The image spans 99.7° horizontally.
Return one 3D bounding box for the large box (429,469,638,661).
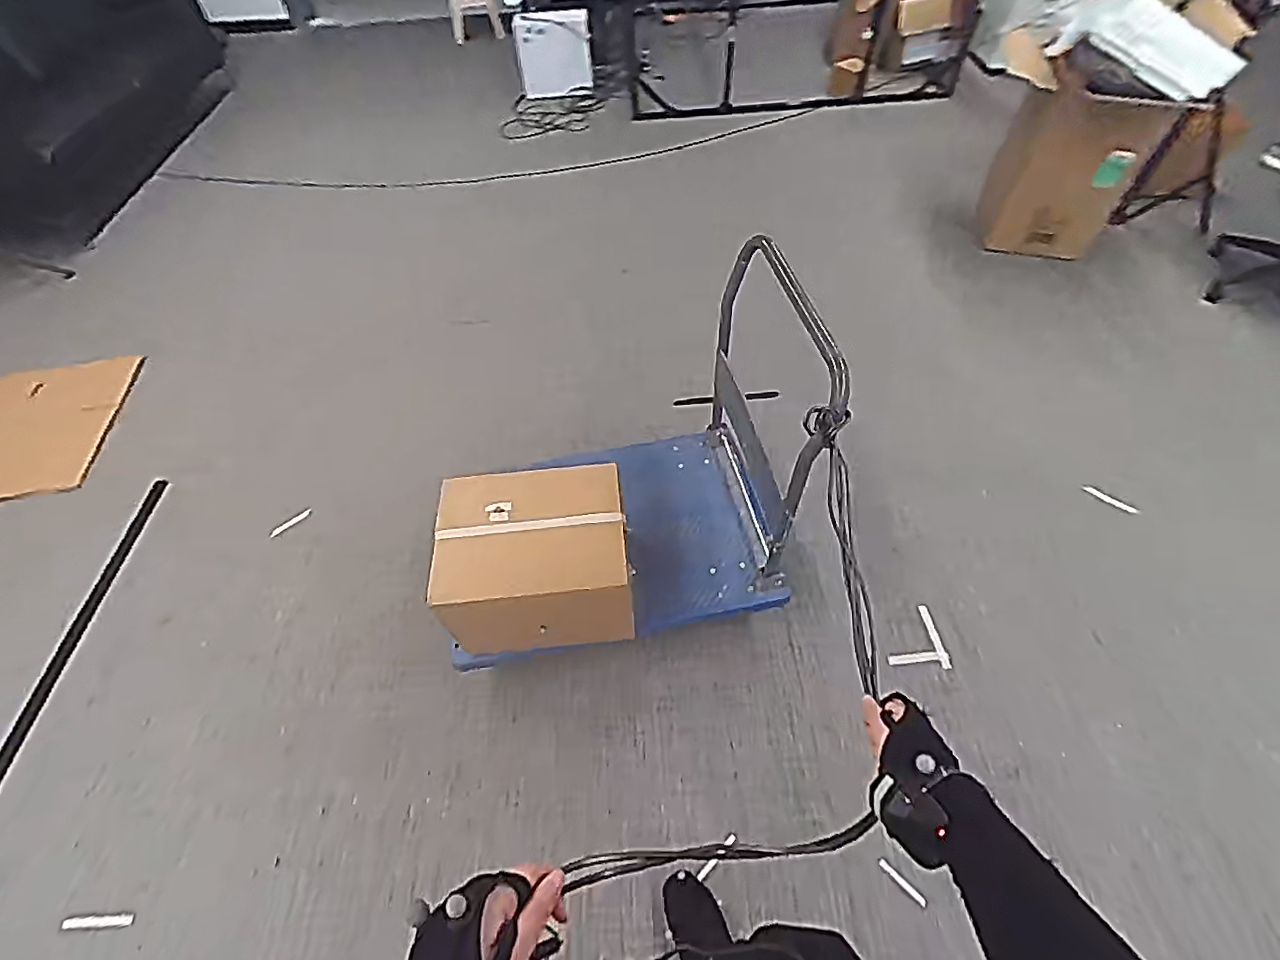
[{"bbox_3d":[-0.226,0.207,1.270,0.408,0.320,0.320,-7,53,-1],"label":"large box"}]
